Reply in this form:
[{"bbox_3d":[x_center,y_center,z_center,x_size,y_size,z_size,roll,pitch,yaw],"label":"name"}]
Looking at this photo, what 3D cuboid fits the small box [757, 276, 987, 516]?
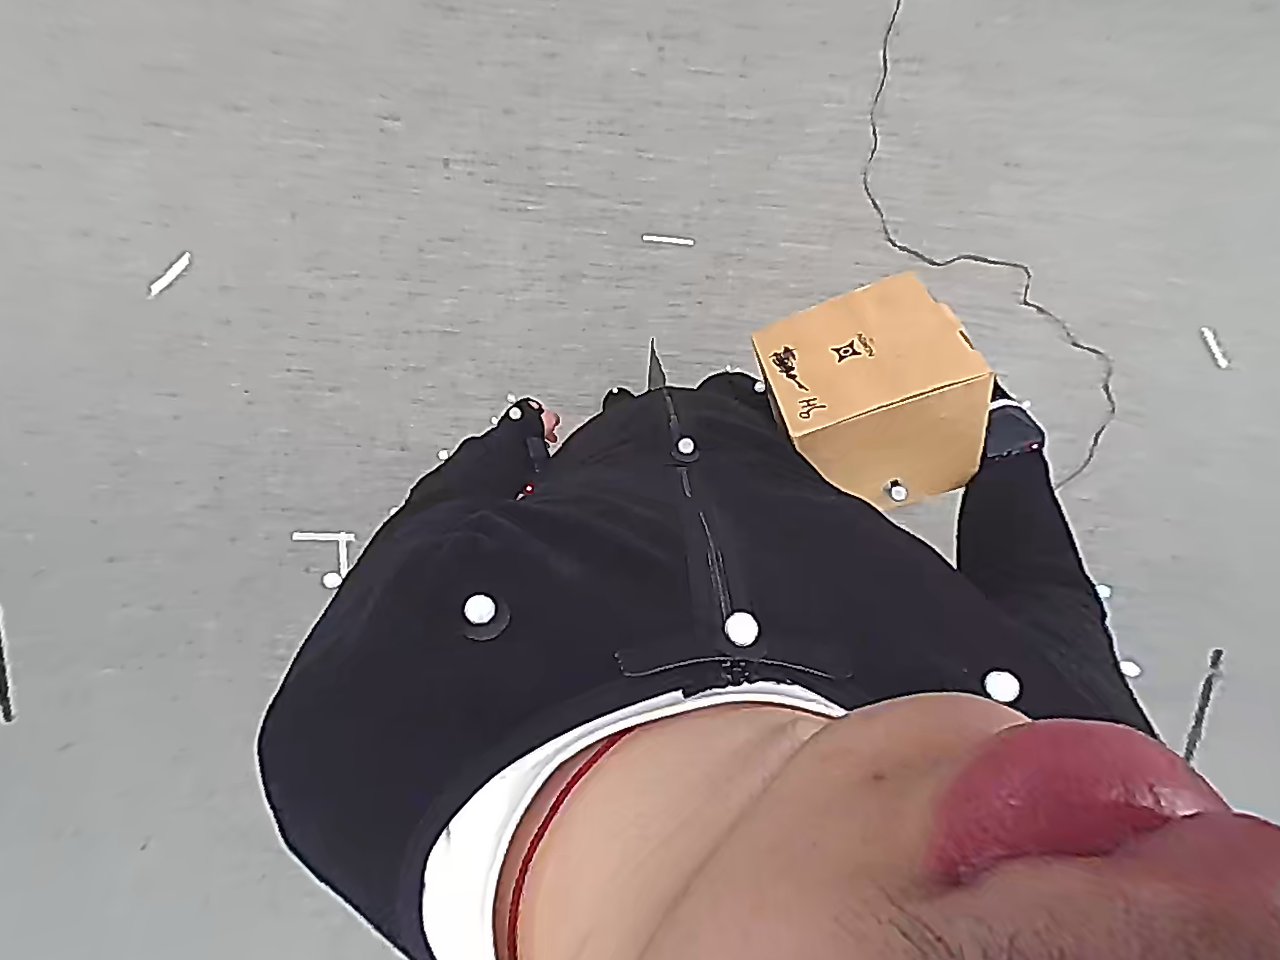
[{"bbox_3d":[0.246,-0.086,0.603,0.179,0.168,0.176,-18,139,12],"label":"small box"}]
